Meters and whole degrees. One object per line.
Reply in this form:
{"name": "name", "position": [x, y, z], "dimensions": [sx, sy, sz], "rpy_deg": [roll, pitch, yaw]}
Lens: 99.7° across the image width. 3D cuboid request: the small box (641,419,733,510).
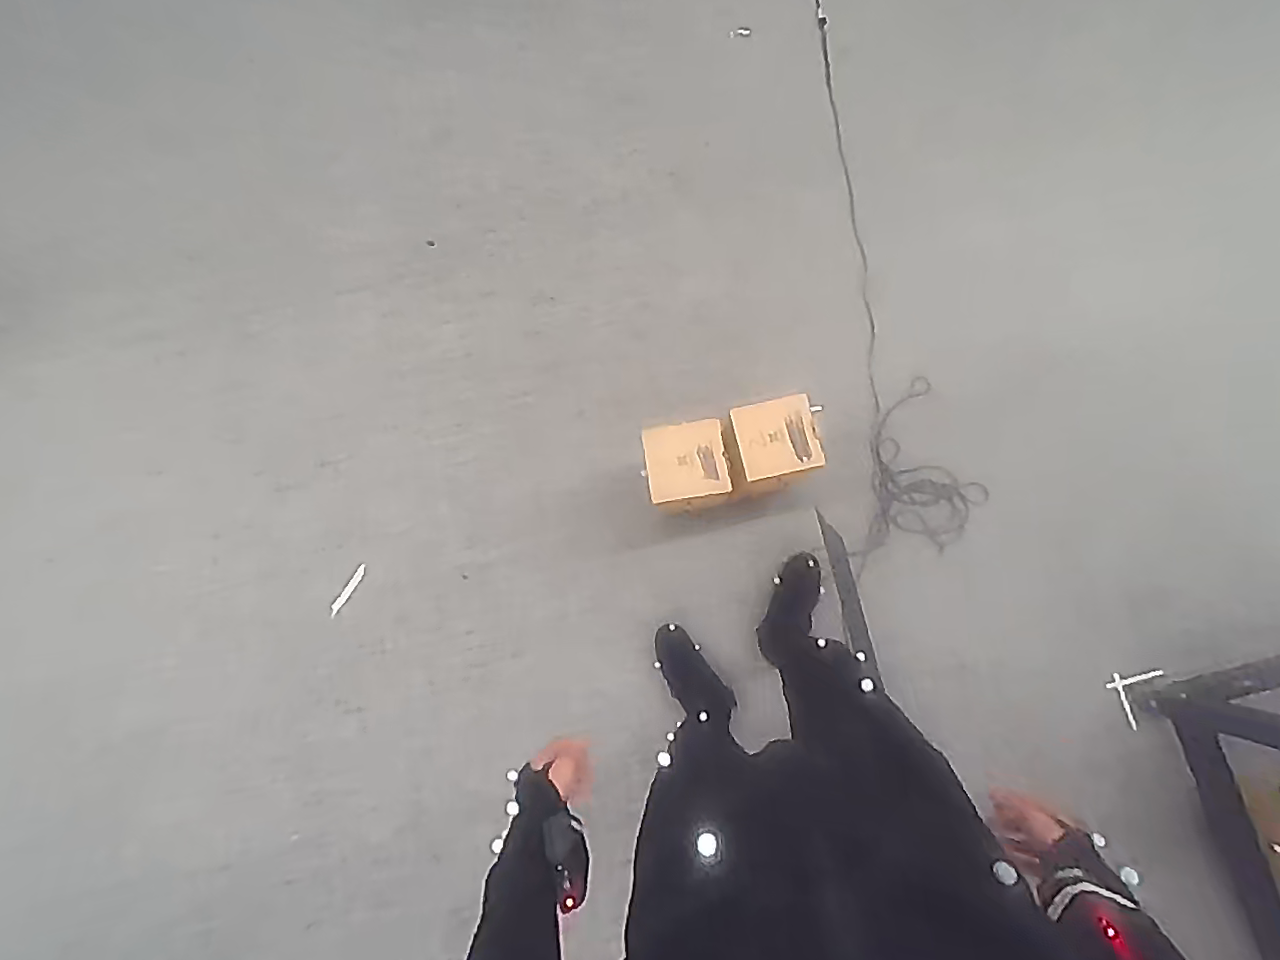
{"name": "small box", "position": [0.104, -0.029, 1.228], "dimensions": [0.179, 0.176, 0.168], "rpy_deg": [-10, 81, 3]}
